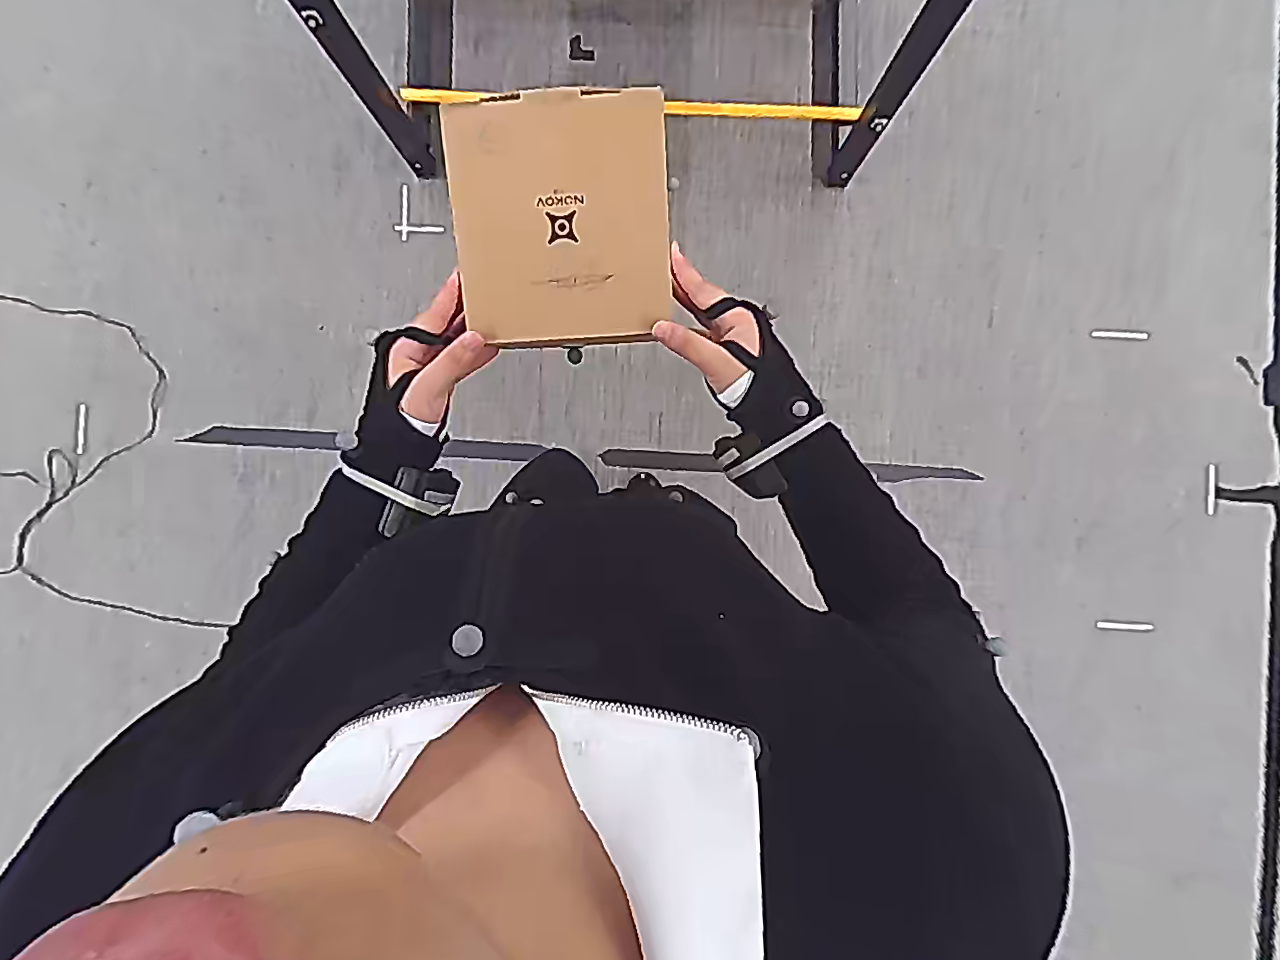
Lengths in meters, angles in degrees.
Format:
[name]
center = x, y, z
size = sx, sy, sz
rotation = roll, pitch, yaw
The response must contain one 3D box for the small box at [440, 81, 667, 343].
[small box]
center = -0.064, -0.222, 0.492
size = 0.168, 0.176, 0.179
rotation = -3, 102, 0
